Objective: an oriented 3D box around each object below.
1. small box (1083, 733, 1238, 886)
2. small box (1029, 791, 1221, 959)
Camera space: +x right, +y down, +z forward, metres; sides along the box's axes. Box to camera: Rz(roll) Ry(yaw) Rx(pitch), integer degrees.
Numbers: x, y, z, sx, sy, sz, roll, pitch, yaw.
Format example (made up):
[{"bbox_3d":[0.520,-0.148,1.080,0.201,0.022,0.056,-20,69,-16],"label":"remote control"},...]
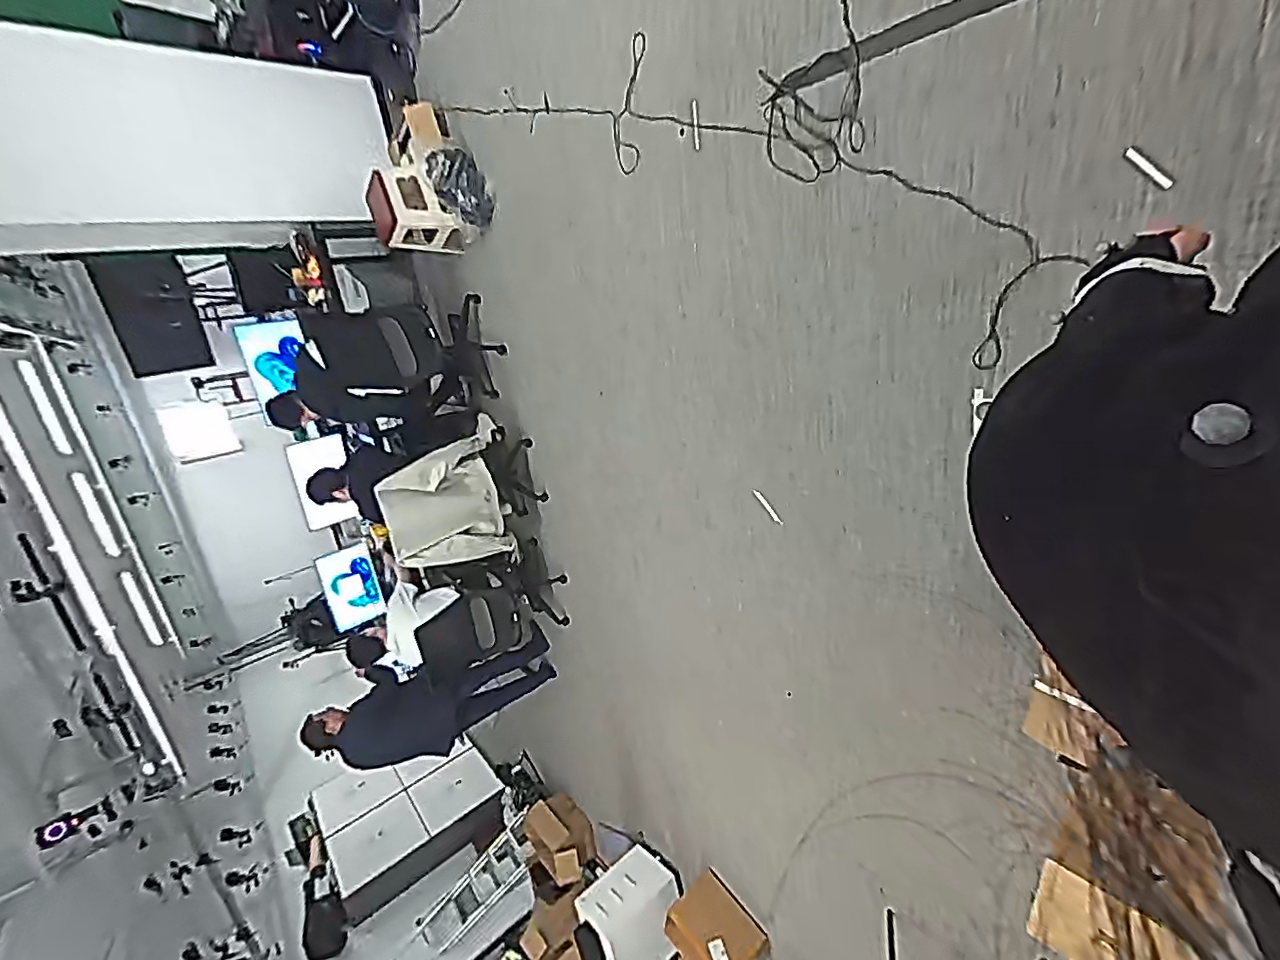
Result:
[{"bbox_3d":[0.819,0.554,0.872,0.168,0.176,0.179,21,123,46],"label":"small box"},{"bbox_3d":[0.694,0.601,0.778,0.168,0.176,0.179,18,122,47],"label":"small box"}]
